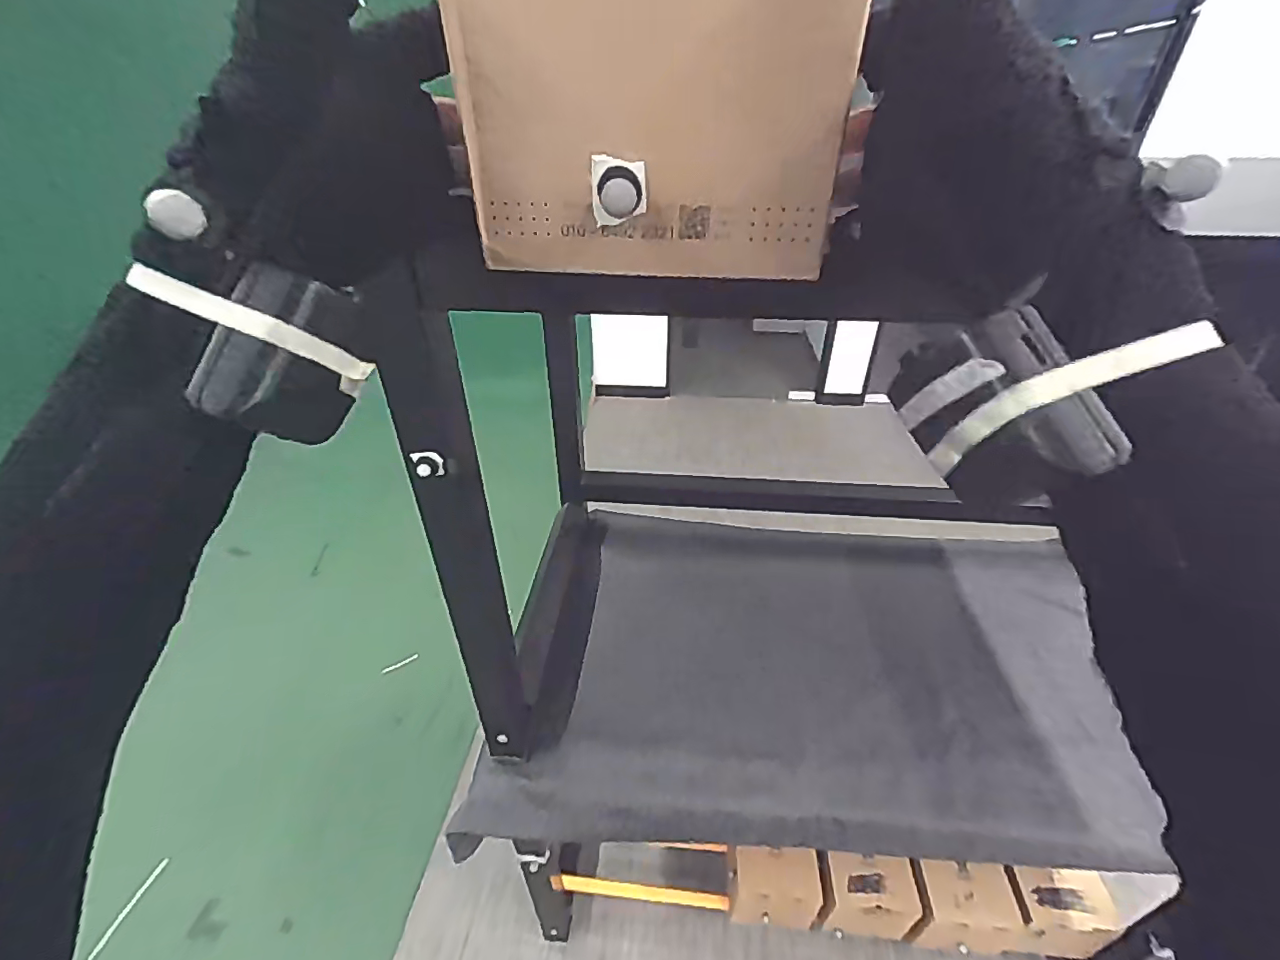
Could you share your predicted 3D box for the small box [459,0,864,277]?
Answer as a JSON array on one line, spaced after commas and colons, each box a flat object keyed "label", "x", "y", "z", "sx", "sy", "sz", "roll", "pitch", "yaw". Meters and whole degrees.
[{"label": "small box", "x": 0.011, "y": -0.219, "z": 0.285, "sx": 0.168, "sy": 0.176, "sz": 0.179, "roll": 2, "pitch": 38, "yaw": 5}]
